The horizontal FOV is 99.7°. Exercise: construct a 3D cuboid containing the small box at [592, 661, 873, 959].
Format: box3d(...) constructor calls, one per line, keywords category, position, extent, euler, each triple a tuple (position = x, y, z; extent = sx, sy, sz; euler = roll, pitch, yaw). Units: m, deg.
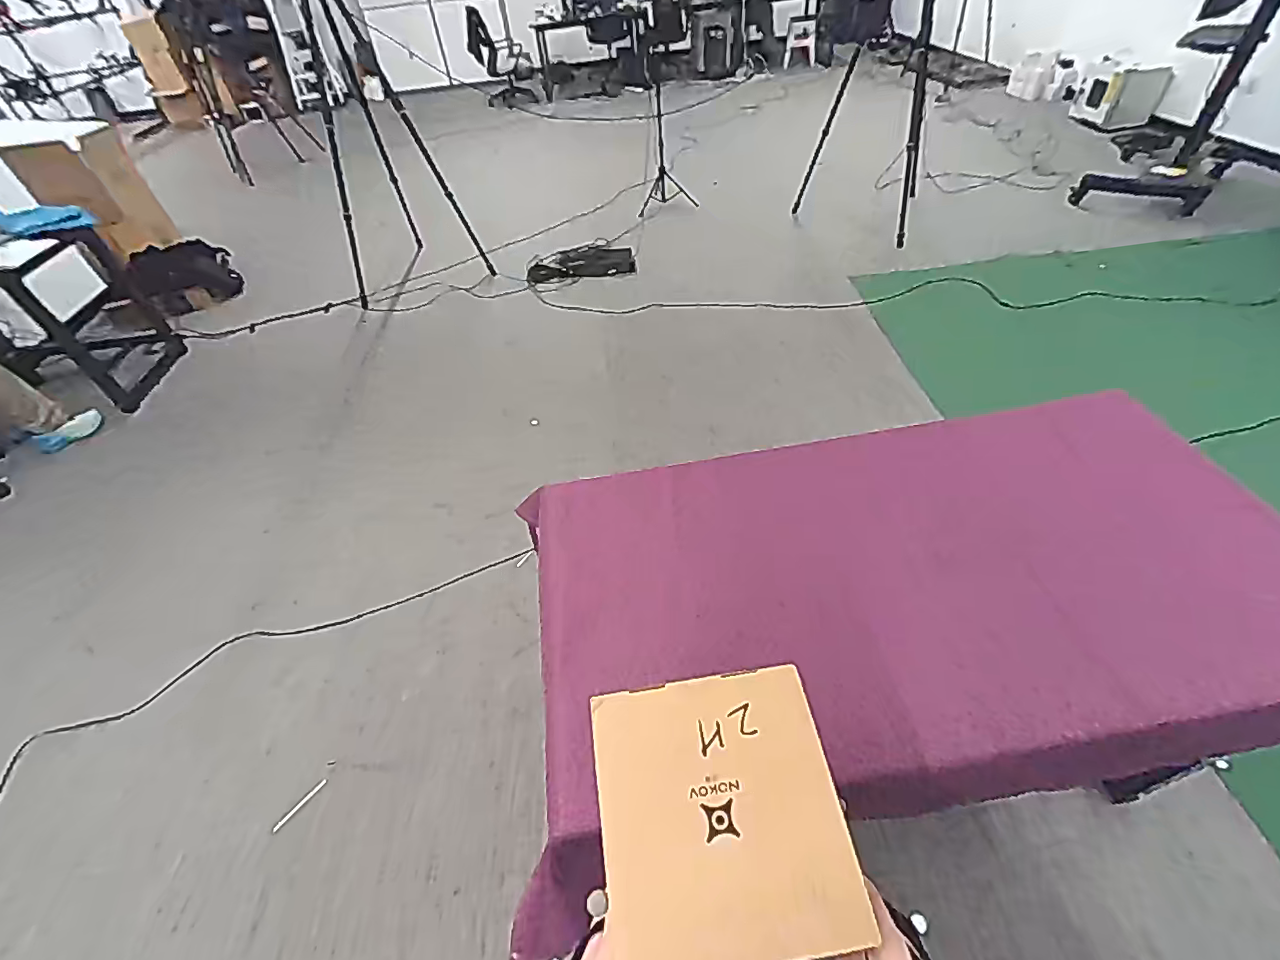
box3d(category="small box", position=(0.058, 0.269, 0.440), extent=(0.168, 0.176, 0.179), euler=(-8, 53, -3))
